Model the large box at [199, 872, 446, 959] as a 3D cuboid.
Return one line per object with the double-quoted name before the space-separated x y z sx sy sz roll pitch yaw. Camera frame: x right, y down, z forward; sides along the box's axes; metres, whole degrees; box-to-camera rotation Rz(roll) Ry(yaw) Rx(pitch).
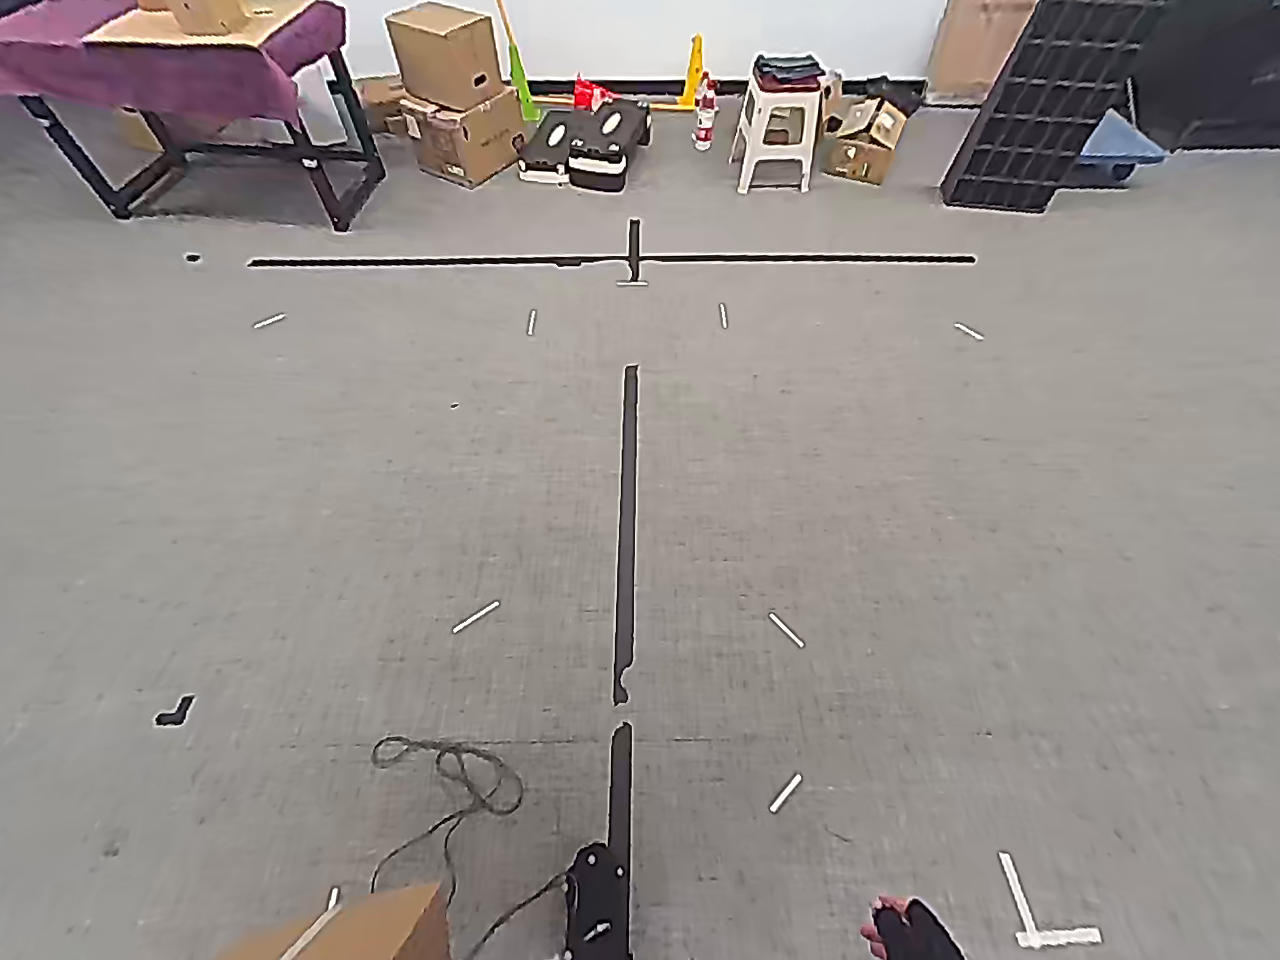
"large box" -0.431 0.761 0.650 0.320 0.408 0.320 -11 75 -8
